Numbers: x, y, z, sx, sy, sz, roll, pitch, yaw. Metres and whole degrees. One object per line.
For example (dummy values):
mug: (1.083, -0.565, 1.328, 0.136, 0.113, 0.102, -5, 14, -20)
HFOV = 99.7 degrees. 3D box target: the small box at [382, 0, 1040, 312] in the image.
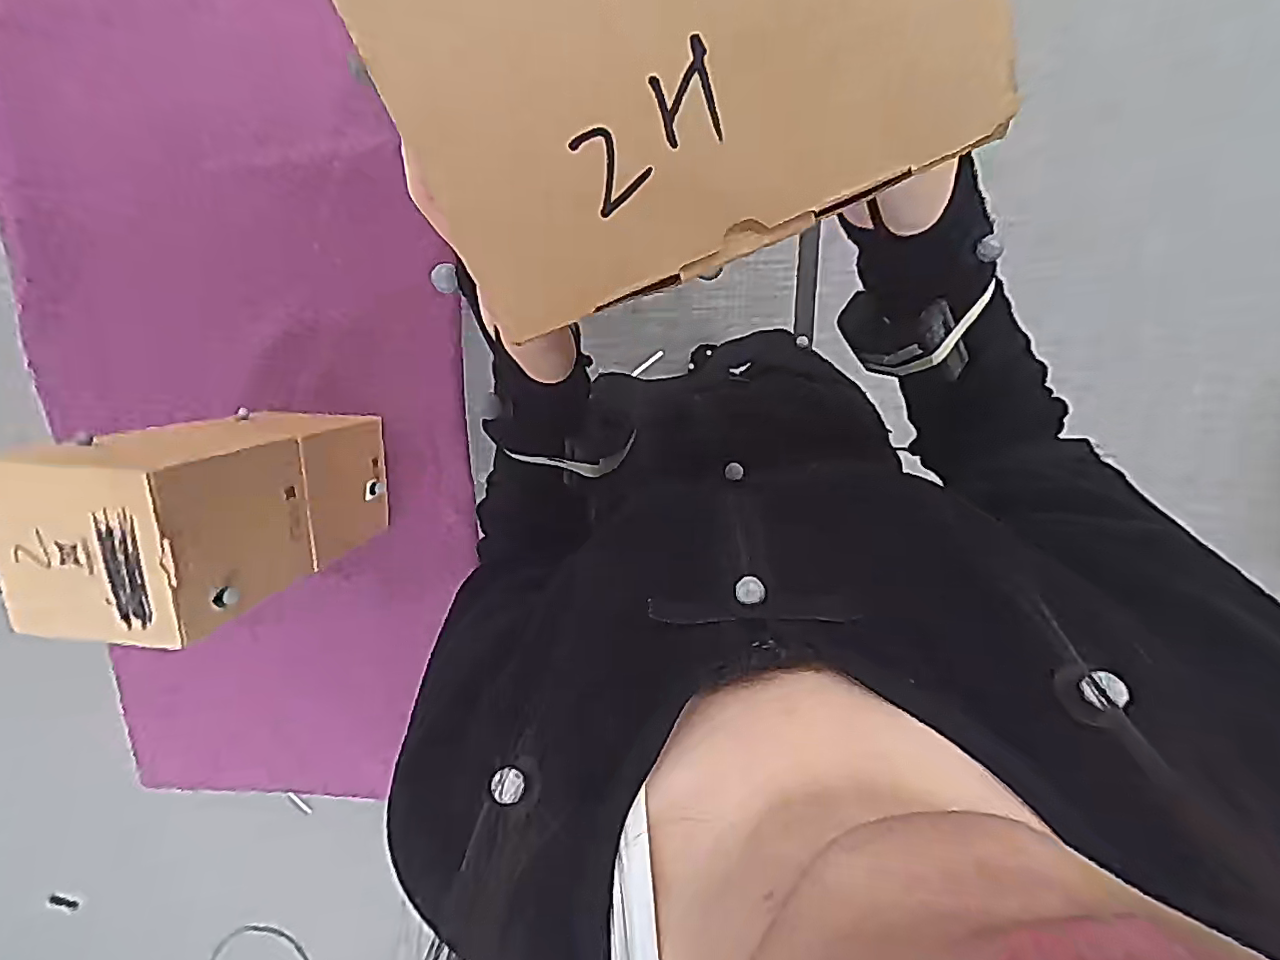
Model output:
small box: (0.006, -0.184, 0.205, 0.168, 0.176, 0.179, -20, 113, 8)

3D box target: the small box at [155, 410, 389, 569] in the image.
small box: (-0.456, 0.002, 0.697, 0.179, 0.176, 0.168, 2, 105, 4)
